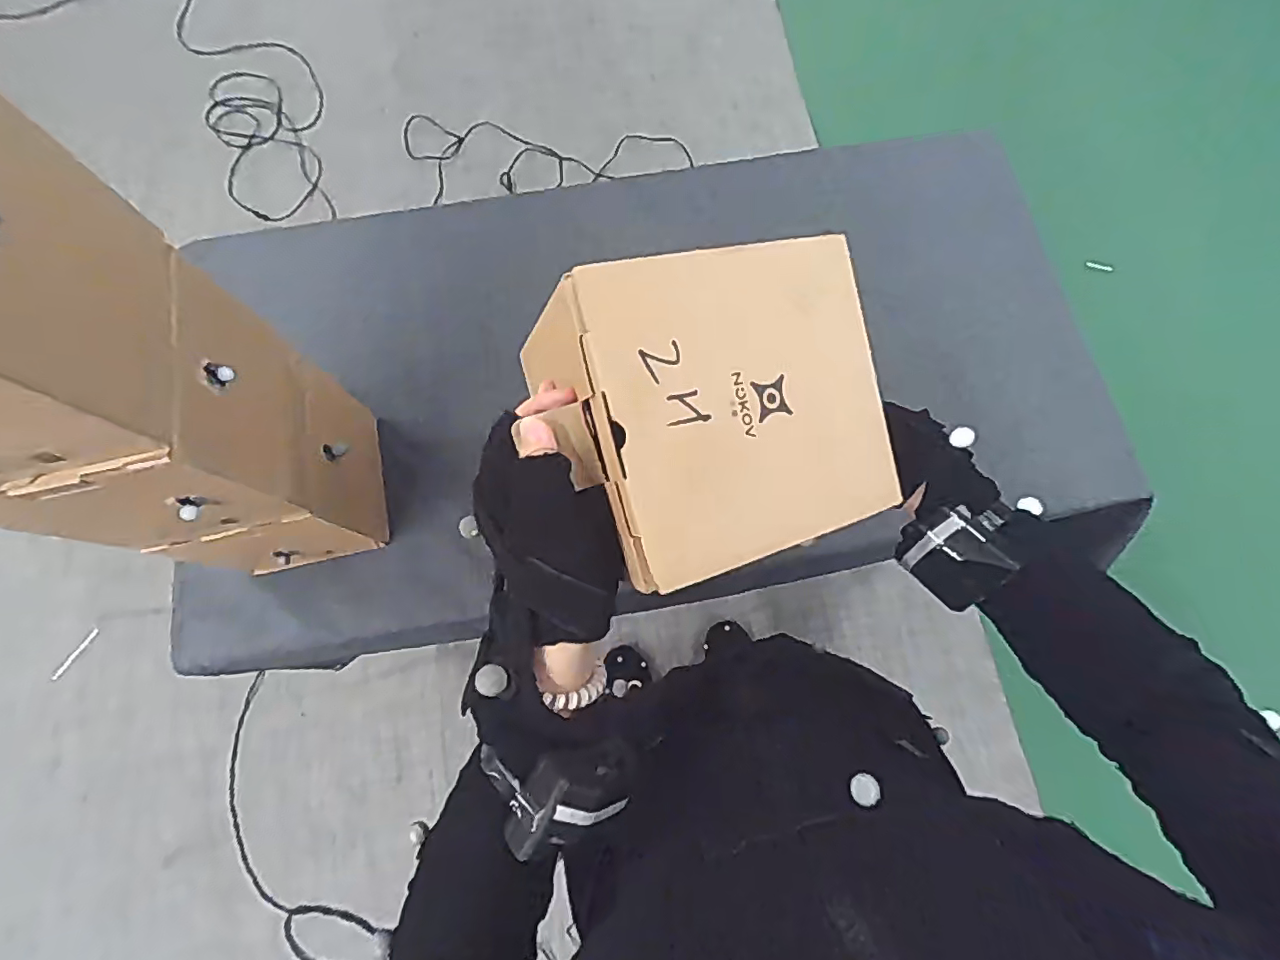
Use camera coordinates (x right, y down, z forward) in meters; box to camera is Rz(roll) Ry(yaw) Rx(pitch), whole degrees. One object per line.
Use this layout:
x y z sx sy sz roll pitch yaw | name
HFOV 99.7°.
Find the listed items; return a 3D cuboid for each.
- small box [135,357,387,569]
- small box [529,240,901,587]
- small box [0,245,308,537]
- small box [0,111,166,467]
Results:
-0.407 -0.009 0.607 0.168 0.176 0.179 -12 75 -4 | small box
0.037 -0.043 0.369 0.179 0.176 0.168 -14 94 -19 | small box
-0.406 -0.056 0.451 0.168 0.176 0.179 -12 74 -4 | small box
-0.407 -0.108 0.296 0.168 0.176 0.179 -13 74 -5 | small box
